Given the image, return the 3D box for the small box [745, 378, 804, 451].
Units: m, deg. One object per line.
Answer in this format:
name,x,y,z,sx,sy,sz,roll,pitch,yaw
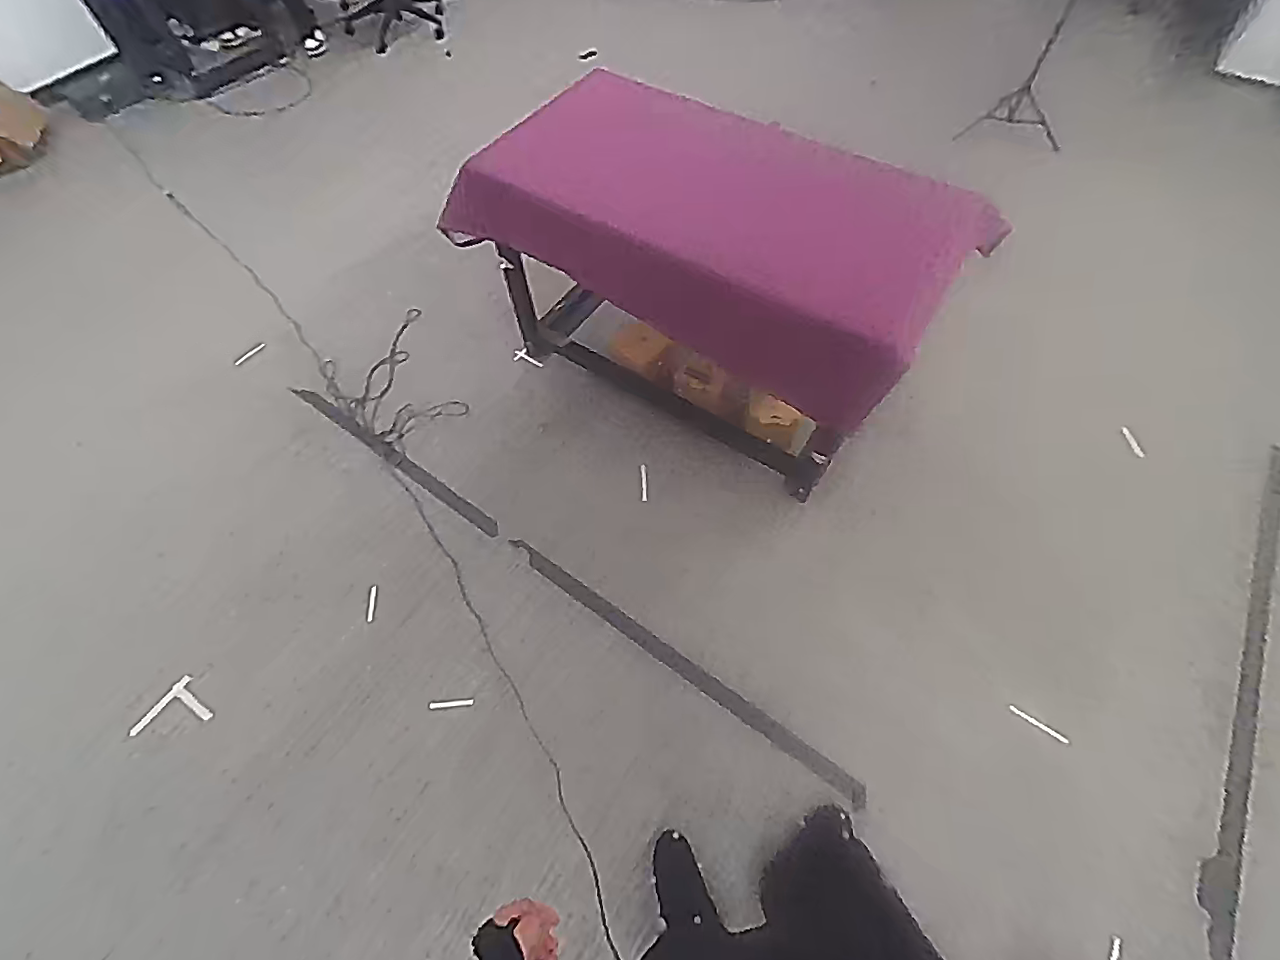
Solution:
small box,0.447,-0.219,1.820,0.168,0.176,0.179,4,60,5
